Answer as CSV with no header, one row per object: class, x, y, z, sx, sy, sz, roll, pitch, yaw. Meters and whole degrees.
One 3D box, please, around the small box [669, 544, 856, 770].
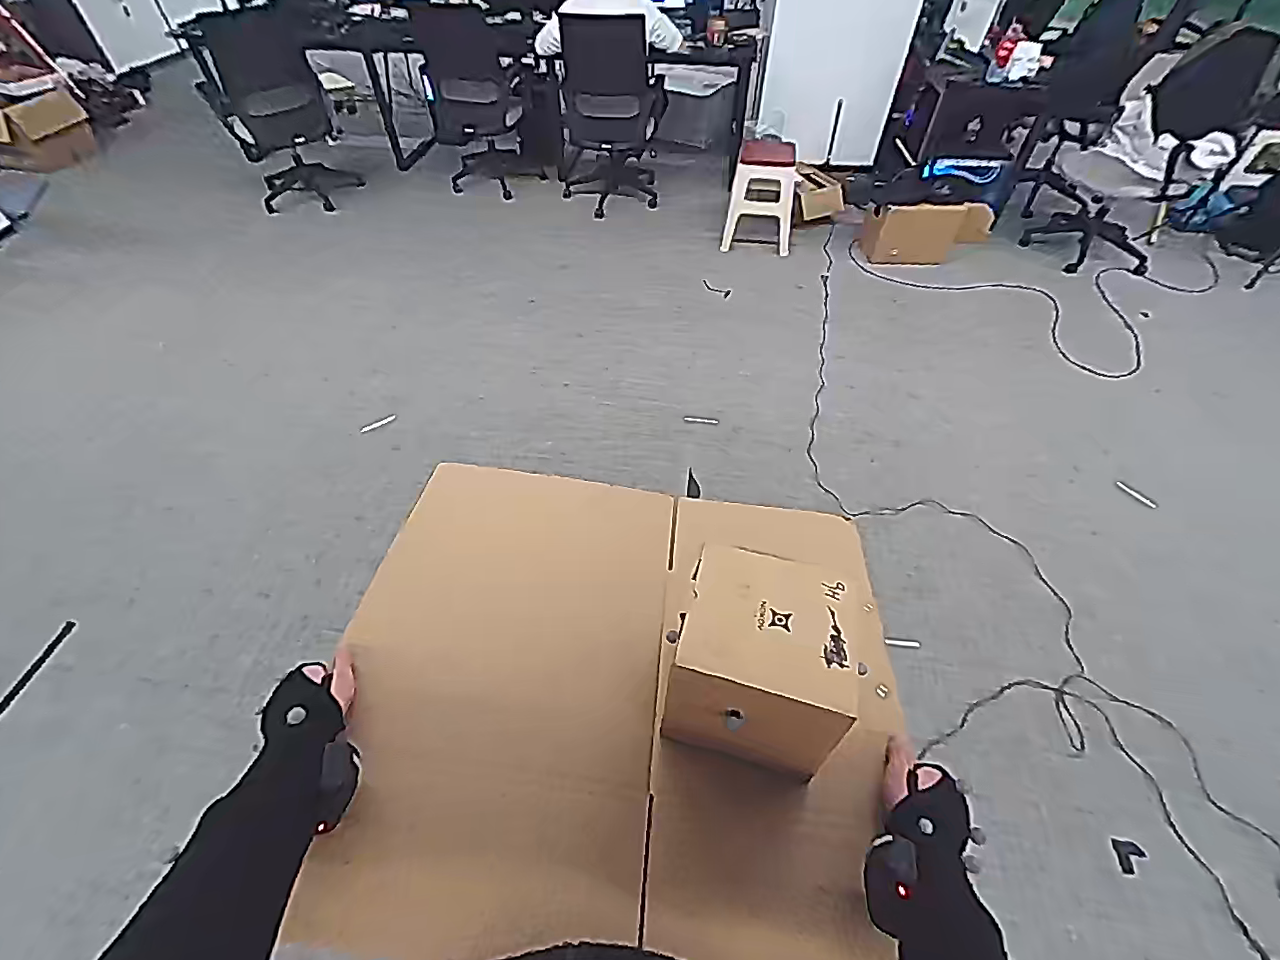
small box,0.135,0.204,0.621,0.179,0.176,0.168,12,45,10
